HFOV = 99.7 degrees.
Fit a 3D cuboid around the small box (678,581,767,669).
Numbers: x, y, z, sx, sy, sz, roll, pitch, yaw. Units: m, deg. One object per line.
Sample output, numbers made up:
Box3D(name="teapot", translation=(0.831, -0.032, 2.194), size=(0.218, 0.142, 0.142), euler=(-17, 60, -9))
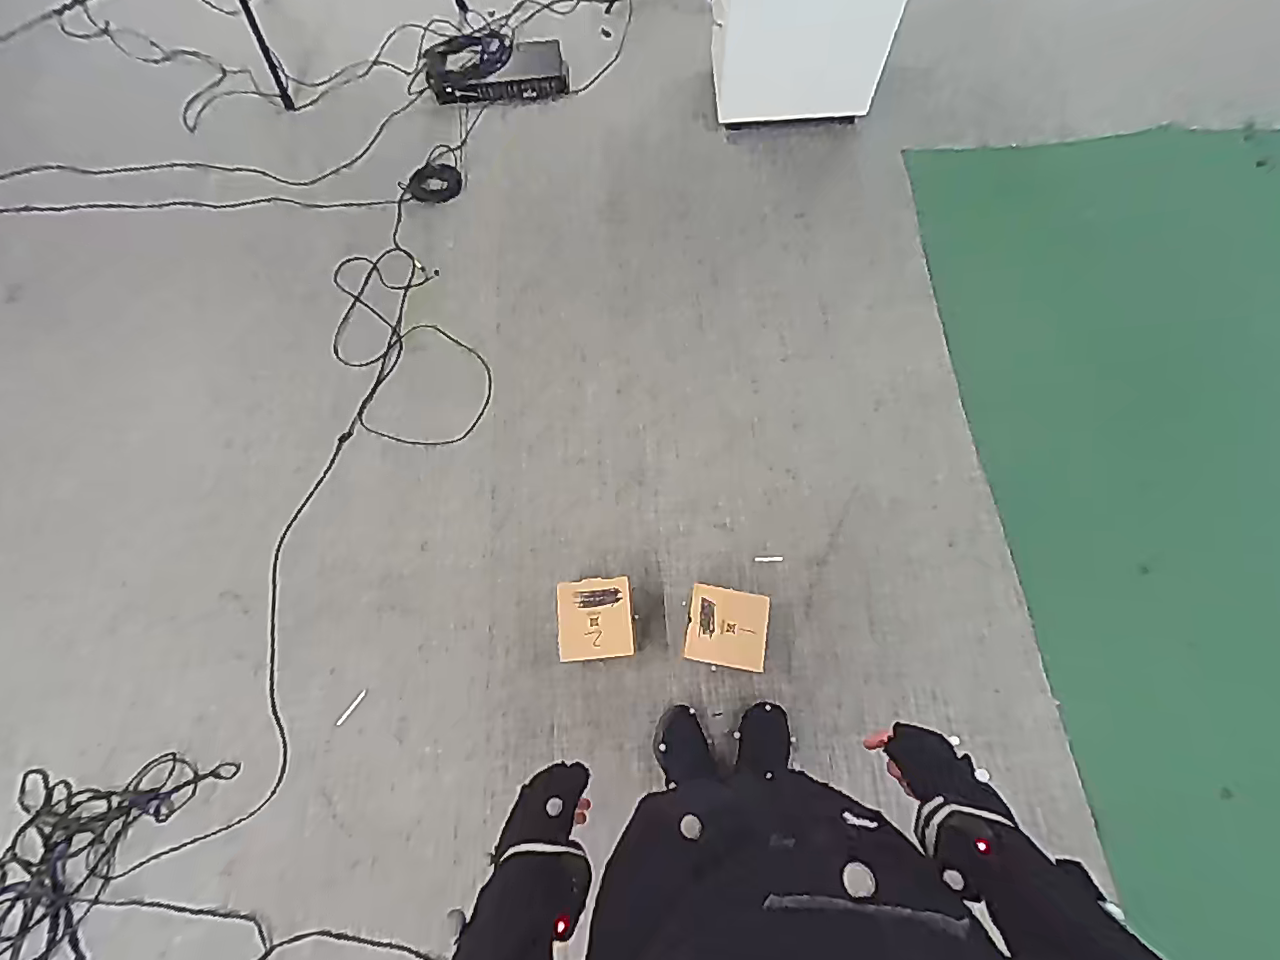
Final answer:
Box3D(name="small box", translation=(0.187, 0.345, 1.267), size=(0.179, 0.176, 0.168), euler=(10, 71, 4))
